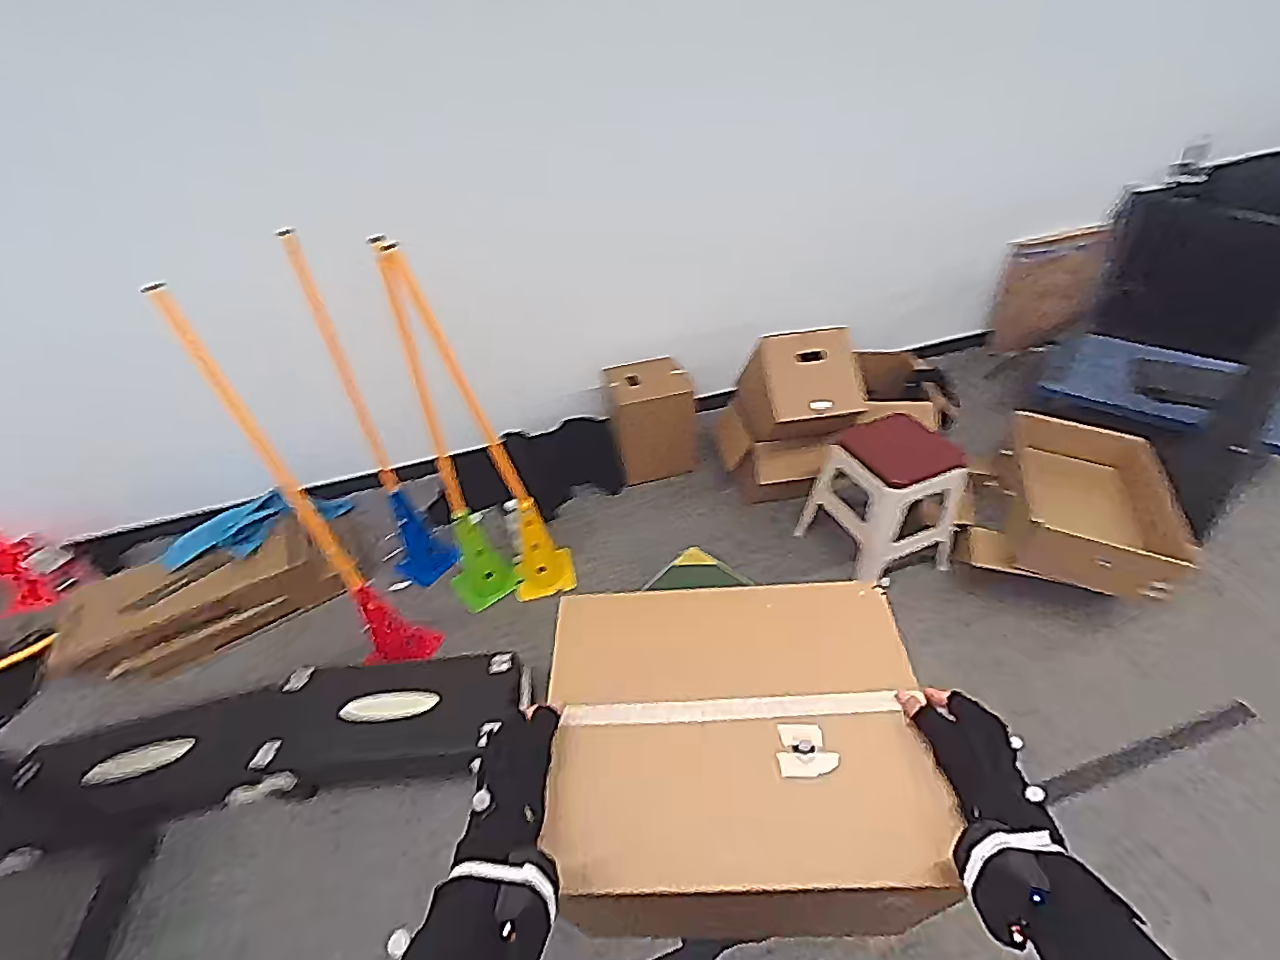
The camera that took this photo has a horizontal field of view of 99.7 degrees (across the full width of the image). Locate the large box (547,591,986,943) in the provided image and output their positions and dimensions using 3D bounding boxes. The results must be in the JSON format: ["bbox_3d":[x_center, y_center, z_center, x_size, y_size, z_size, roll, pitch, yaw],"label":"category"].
[{"bbox_3d":[0.120,0.367,0.693,0.408,0.320,0.320,-3,44,3],"label":"large box"}]
